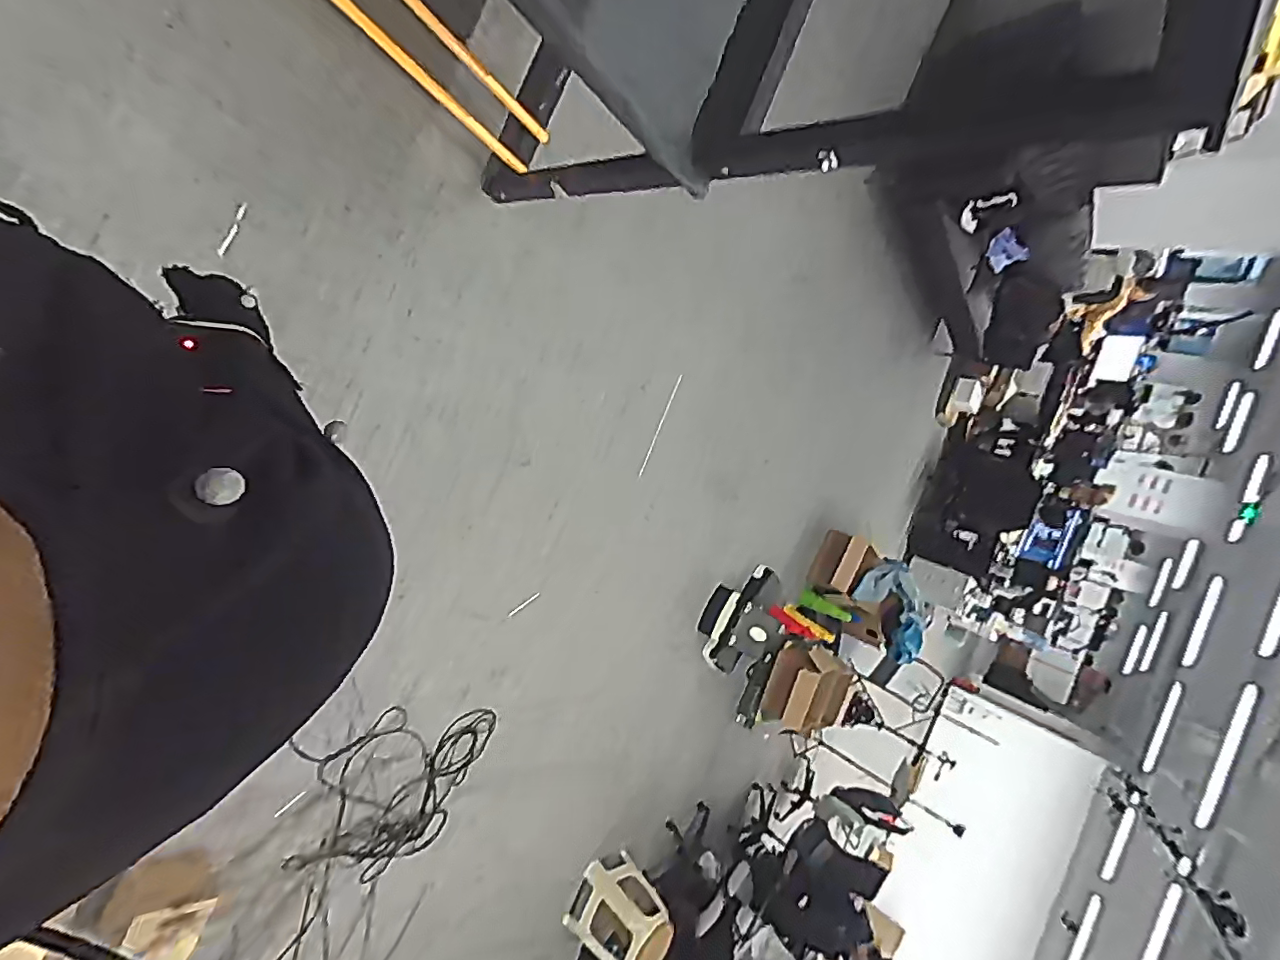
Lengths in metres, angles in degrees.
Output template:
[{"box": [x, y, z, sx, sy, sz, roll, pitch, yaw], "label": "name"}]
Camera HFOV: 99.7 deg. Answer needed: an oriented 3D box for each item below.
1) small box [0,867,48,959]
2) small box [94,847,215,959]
[{"box": [-1.365, 0.954, 1.111, 0.168, 0.176, 0.179, 23, 88, -51], "label": "small box"}, {"box": [-1.200, 1.045, 1.333, 0.168, 0.176, 0.179, 30, 84, -50], "label": "small box"}]
